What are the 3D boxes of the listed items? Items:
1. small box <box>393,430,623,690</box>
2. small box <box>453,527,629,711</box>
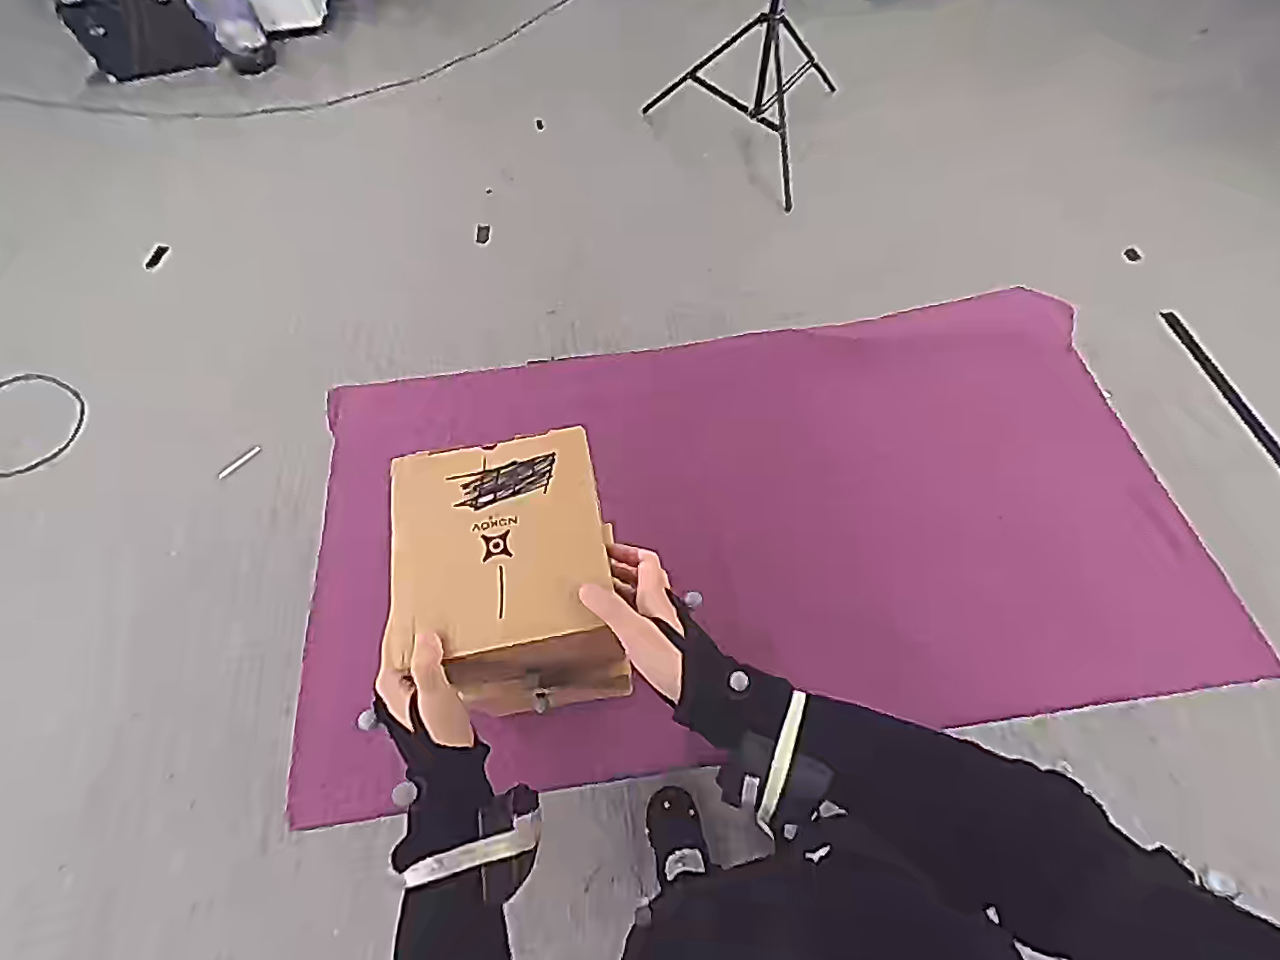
[{"bbox_3d":[-0.111,0.081,0.499,0.168,0.176,0.179,-11,64,-5],"label":"small box"},{"bbox_3d":[-0.108,0.170,0.638,0.179,0.176,0.168,-8,63,-3],"label":"small box"}]
